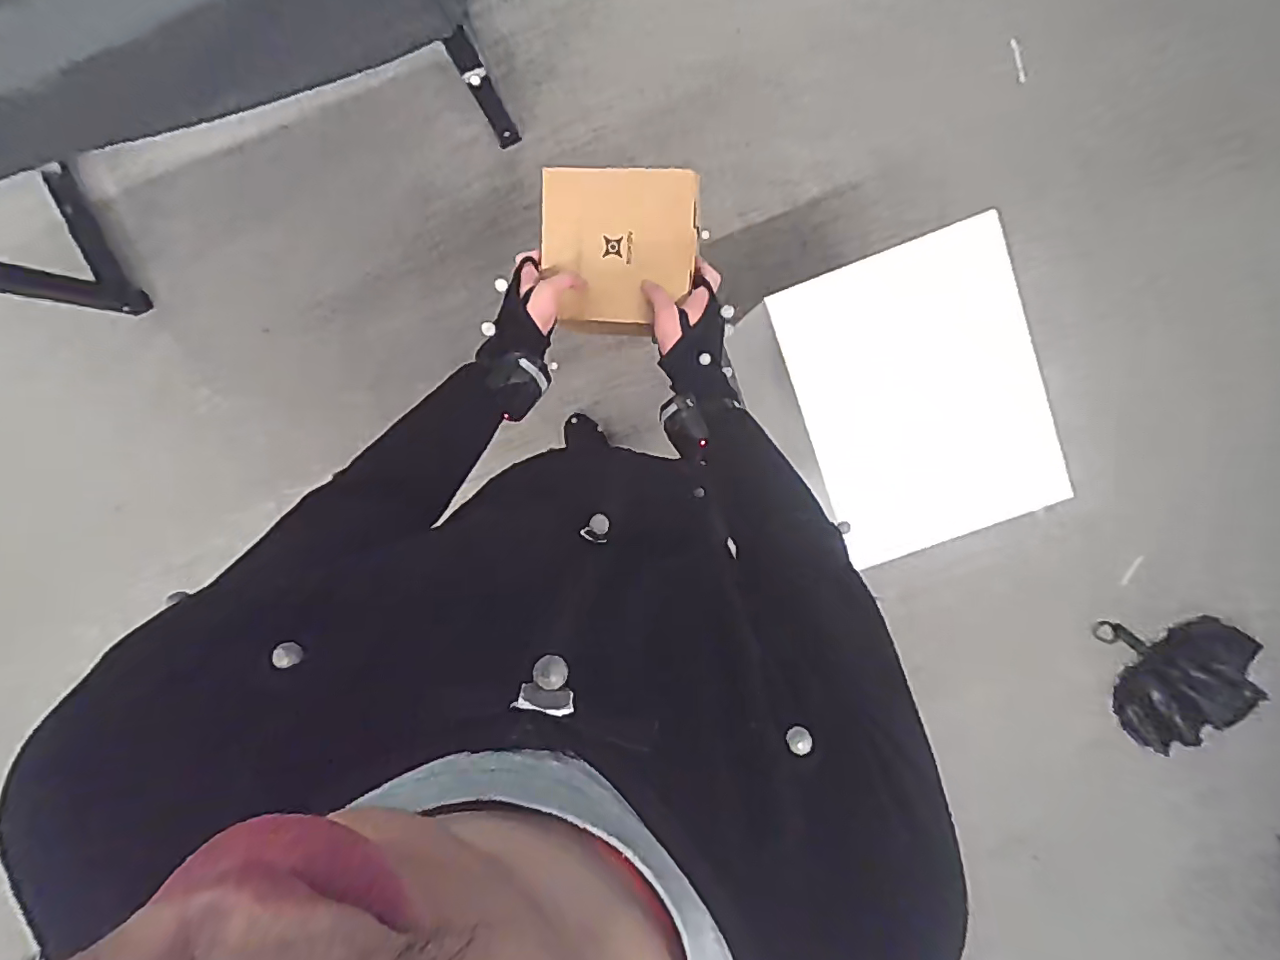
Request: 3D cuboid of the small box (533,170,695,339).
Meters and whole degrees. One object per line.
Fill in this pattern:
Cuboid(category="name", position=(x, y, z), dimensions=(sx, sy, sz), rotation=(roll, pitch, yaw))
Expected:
Cuboid(category="small box", position=(-0.024, -0.270, 0.679), dimensions=(0.179, 0.176, 0.168), rotation=(3, 100, 8))
